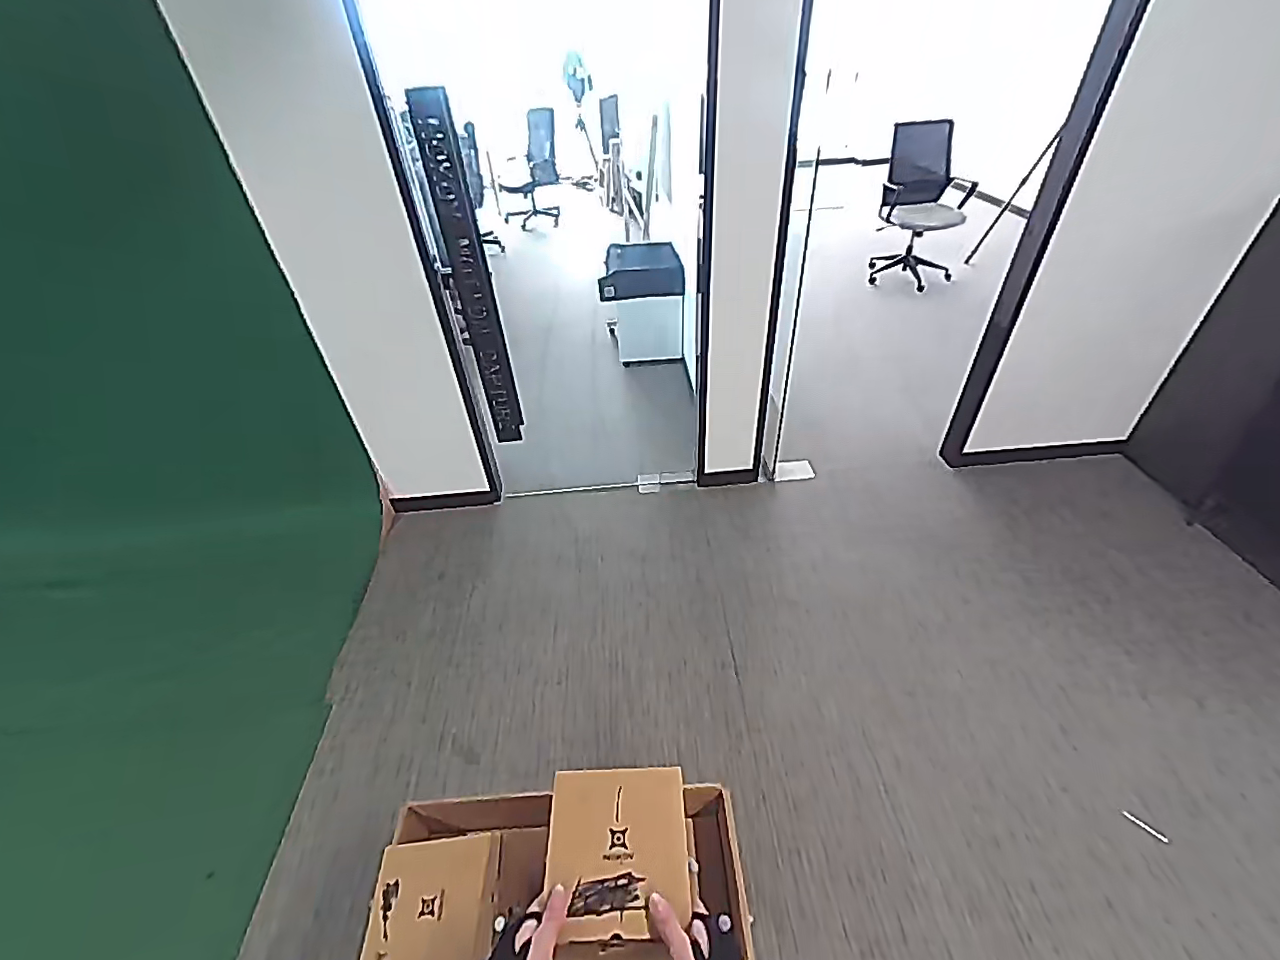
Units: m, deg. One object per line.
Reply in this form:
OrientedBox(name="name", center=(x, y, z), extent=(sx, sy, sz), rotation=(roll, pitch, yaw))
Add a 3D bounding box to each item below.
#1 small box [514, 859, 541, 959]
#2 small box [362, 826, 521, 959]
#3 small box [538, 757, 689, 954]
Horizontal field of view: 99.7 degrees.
OrientedBox(name="small box", center=(-0.271, 0.760, 0.903), extent=(0.179, 0.176, 0.168), rotation=(-3, 40, -2))
OrientedBox(name="small box", center=(-0.277, 0.636, 0.796), extent=(0.179, 0.176, 0.168), rotation=(-5, 41, -3))
OrientedBox(name="small box", center=(-0.025, 0.478, 0.686), extent=(0.168, 0.176, 0.179), rotation=(-2, 40, 0))
